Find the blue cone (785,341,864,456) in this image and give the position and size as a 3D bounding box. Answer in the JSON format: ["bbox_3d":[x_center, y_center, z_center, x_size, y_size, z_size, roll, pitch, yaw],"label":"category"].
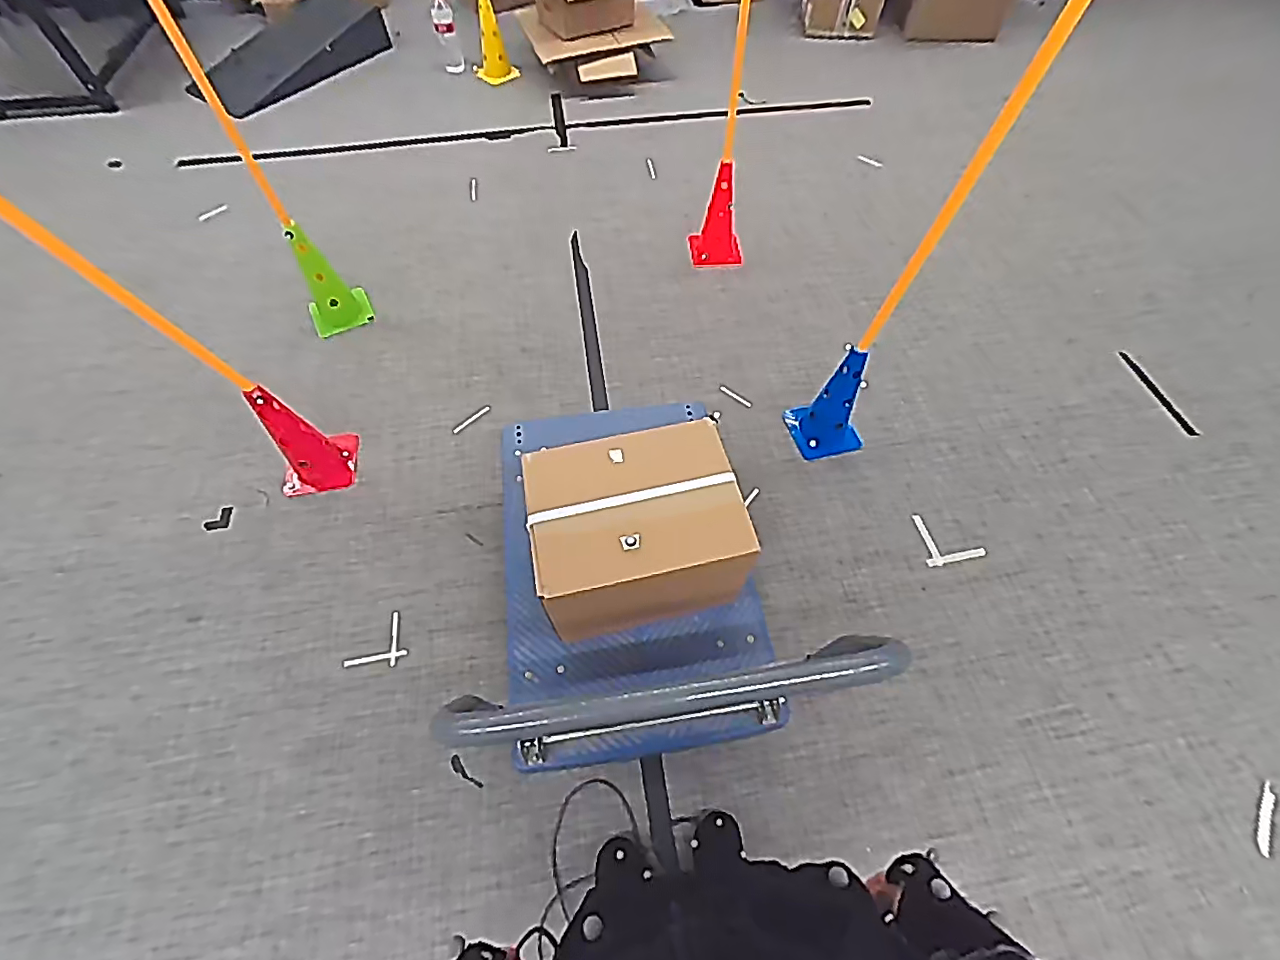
[{"bbox_3d":[0.578,-0.249,1.581,0.193,0.380,0.192,-11,59,-7],"label":"blue cone"}]

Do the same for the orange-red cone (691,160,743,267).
[{"bbox_3d":[0.308,-1.004,2.014,0.199,0.360,0.198,-2,60,-2],"label":"orange-red cone"}]
